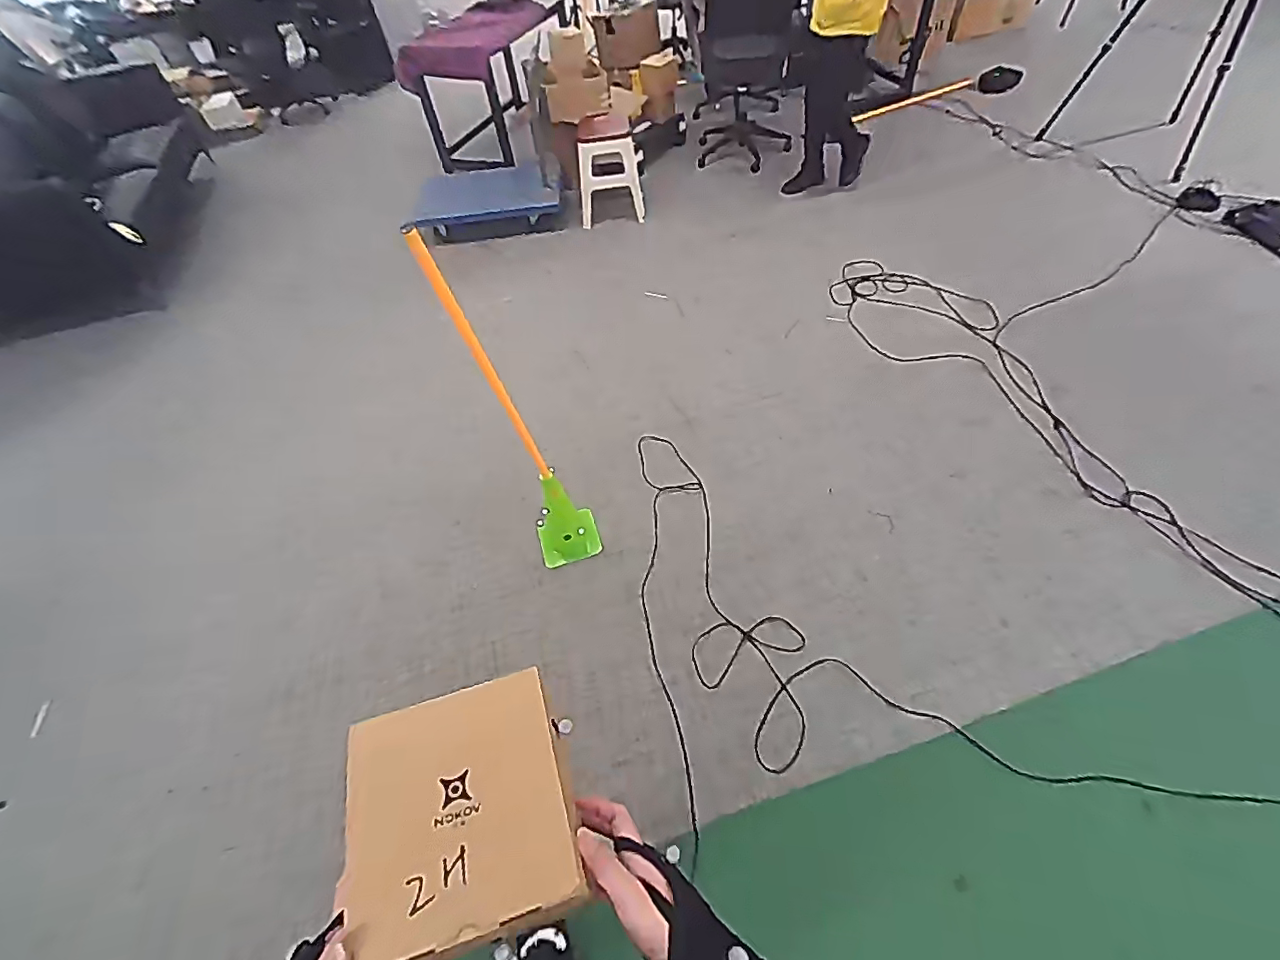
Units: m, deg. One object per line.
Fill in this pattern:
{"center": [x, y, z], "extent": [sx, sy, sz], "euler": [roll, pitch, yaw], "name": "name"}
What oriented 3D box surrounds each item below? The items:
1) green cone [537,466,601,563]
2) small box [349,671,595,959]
{"center": [-0.264, 0.087, 1.760], "extent": [0.202, 0.368, 0.200], "euler": [-16, 53, -8], "name": "green cone"}
{"center": [-0.143, 0.308, 0.496], "extent": [0.168, 0.176, 0.179], "euler": [-14, 52, -10], "name": "small box"}
